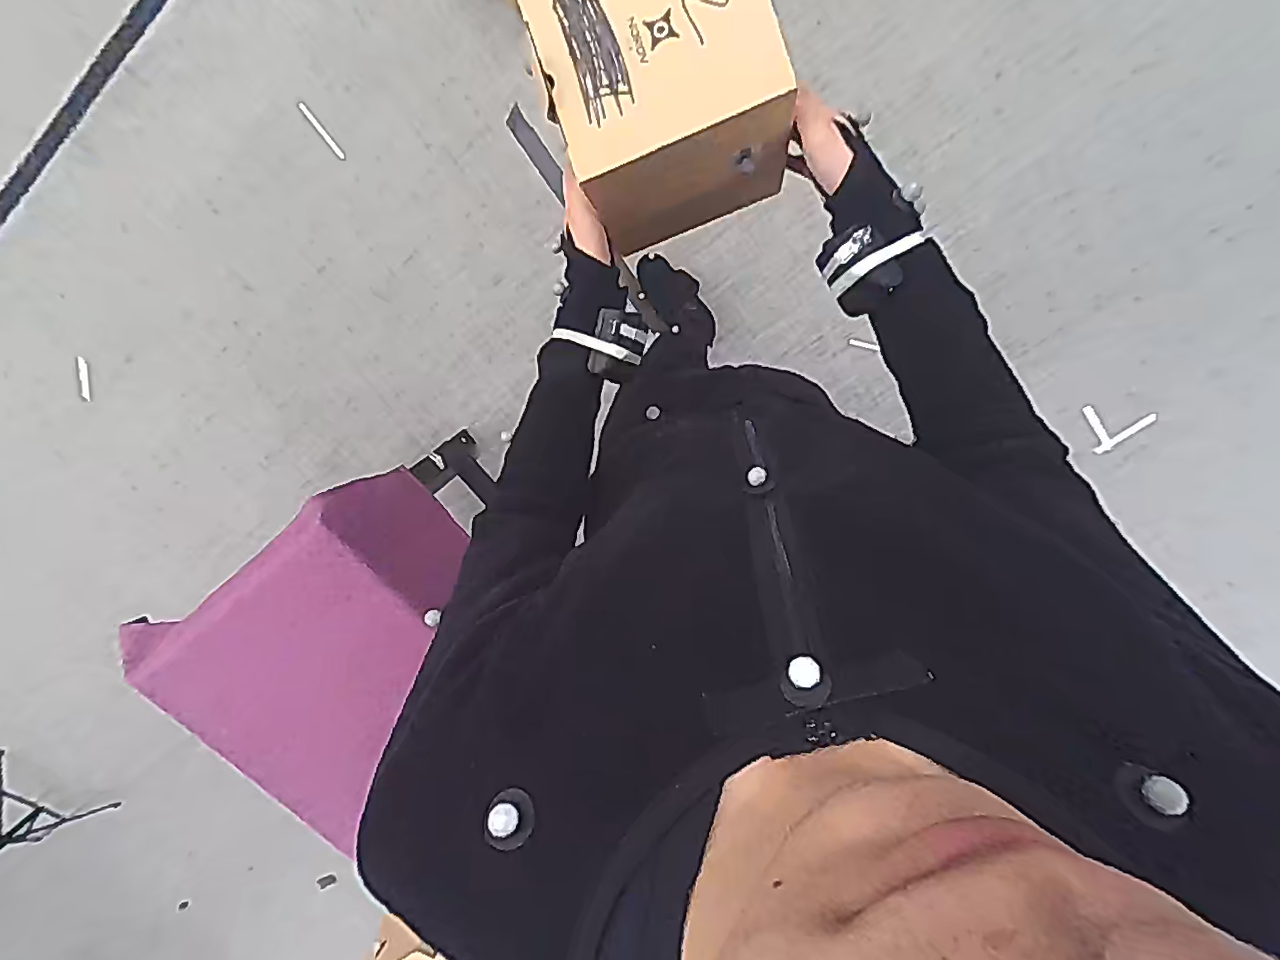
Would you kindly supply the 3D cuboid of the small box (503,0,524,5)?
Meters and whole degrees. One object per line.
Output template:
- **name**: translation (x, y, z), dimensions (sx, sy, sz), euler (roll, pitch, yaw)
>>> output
- **small box**: translation (-0.287, -1.191, 1.173), dimensions (0.168, 0.176, 0.179), euler (-32, 105, 12)
